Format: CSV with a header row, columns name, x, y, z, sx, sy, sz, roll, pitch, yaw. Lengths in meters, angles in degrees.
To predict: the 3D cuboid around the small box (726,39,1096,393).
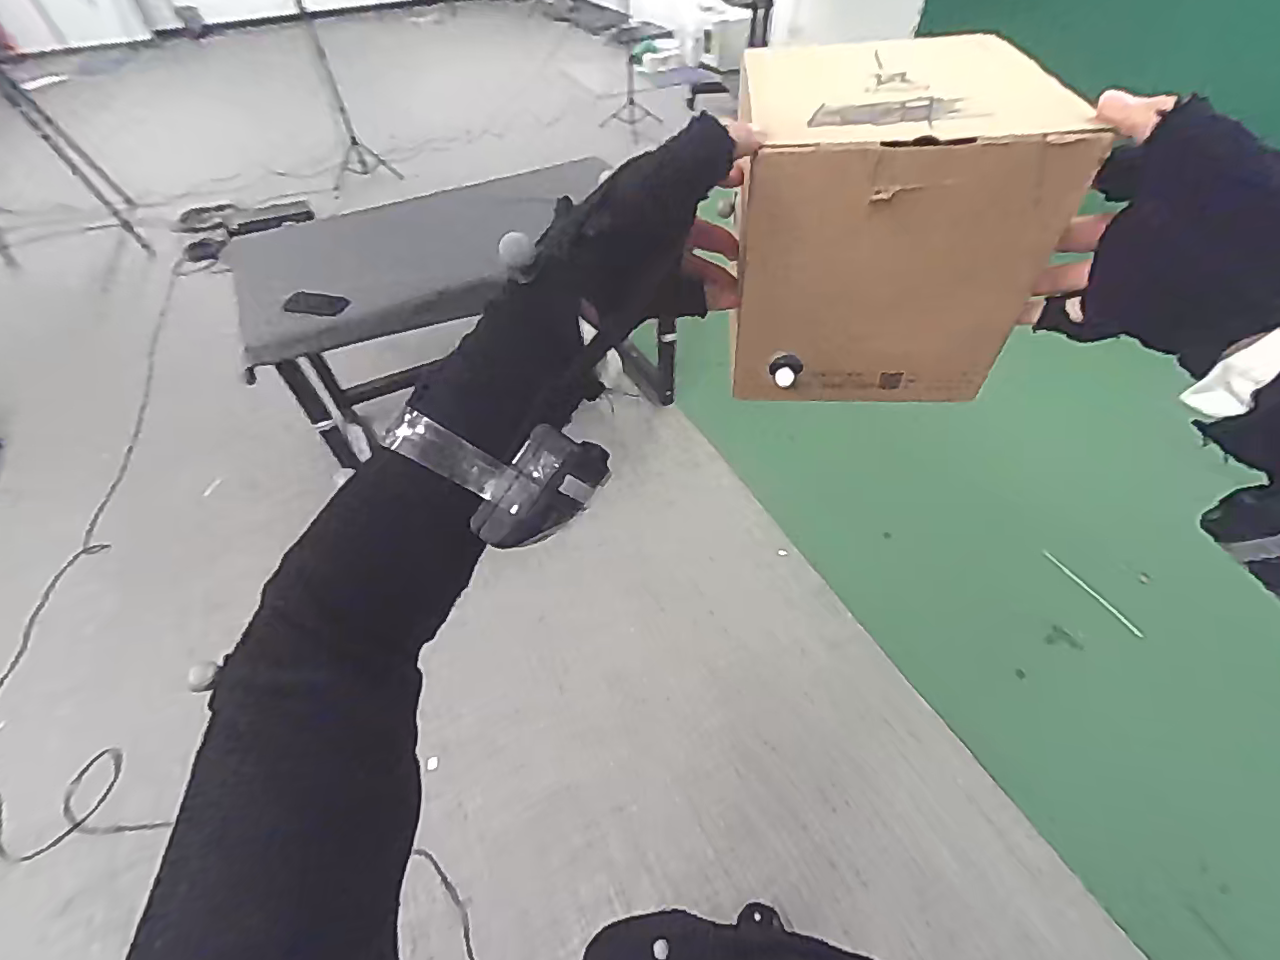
name,x,y,z,sx,sy,sz,roll,pitch,yaw
small box,0.149,-0.175,0.376,0.168,0.176,0.179,1,50,6
